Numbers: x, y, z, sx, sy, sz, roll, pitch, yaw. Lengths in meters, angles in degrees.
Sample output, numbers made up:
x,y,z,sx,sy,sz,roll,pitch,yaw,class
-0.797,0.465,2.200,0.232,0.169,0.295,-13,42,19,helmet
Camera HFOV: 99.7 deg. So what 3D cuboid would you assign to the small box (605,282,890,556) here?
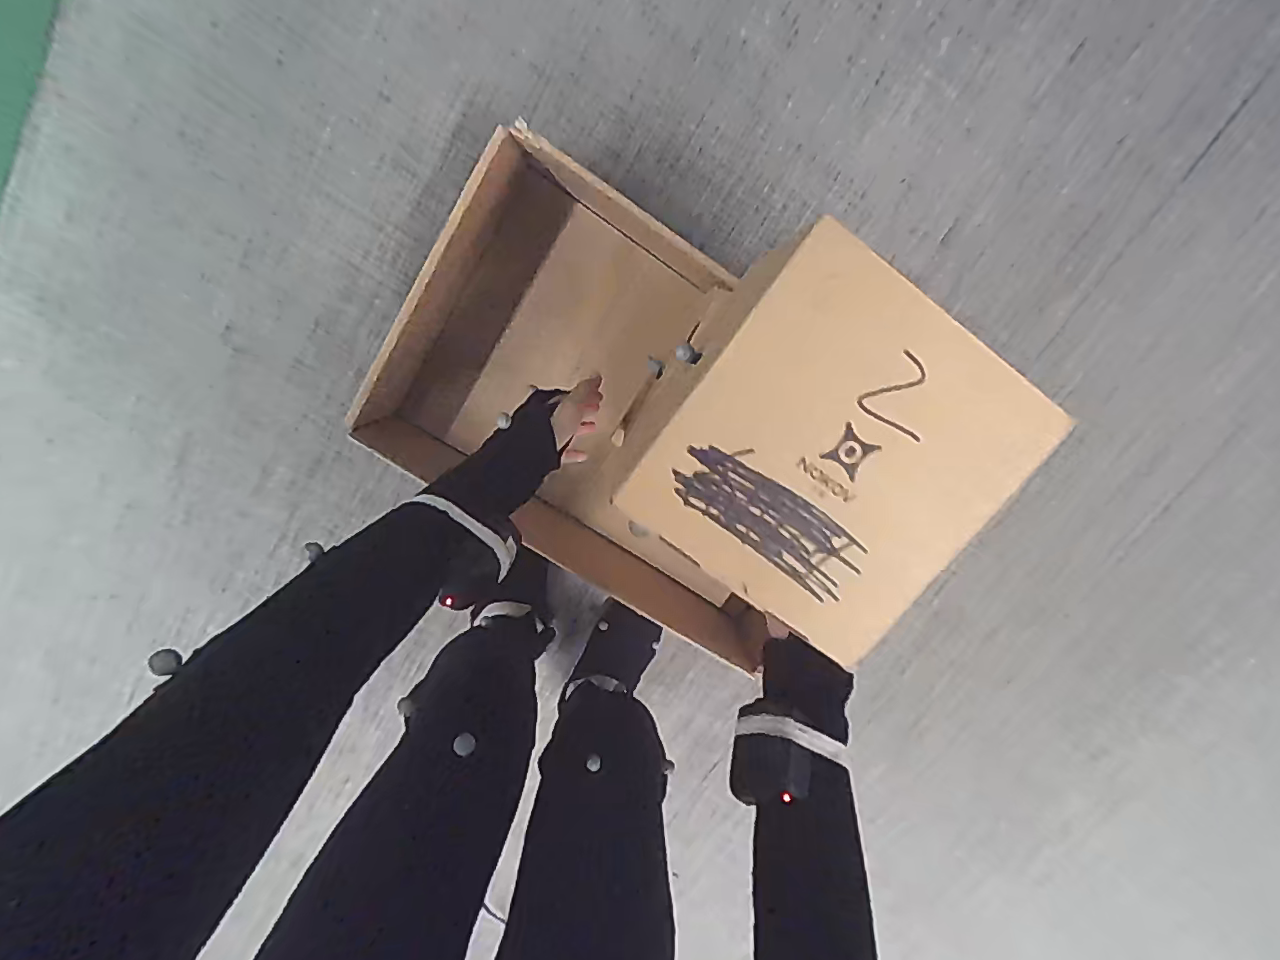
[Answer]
x,y,z,sx,sy,sz,roll,pitch,yaw,class
0.086,-0.061,0.512,0.179,0.176,0.168,29,104,-6,small box
